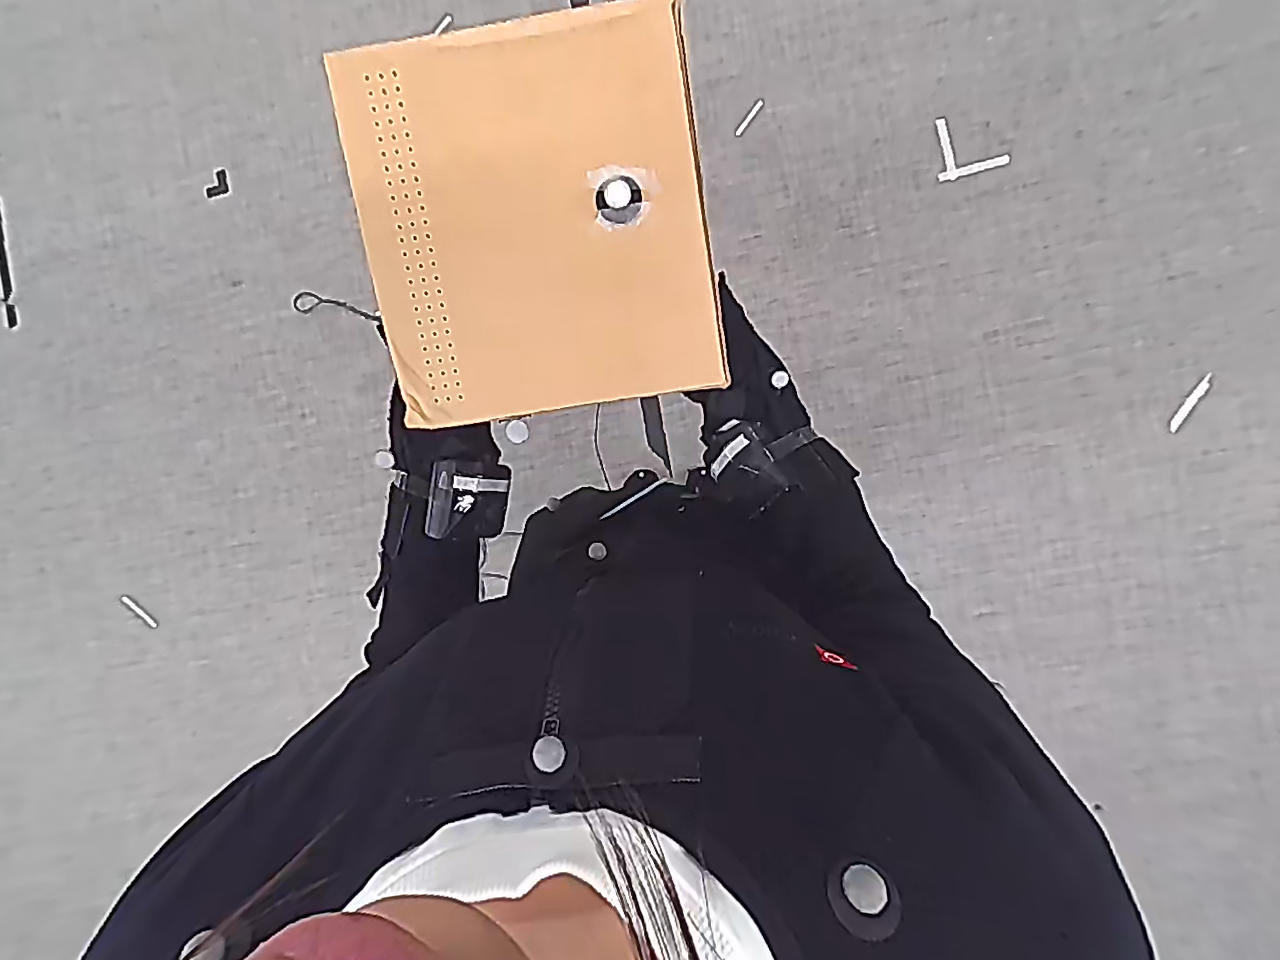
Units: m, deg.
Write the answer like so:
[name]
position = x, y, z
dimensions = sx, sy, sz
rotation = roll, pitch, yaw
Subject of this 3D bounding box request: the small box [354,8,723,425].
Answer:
[small box]
position = -0.051, -0.138, 0.346
dimensions = 0.176, 0.168, 0.179
rotation = -8, 99, 3
